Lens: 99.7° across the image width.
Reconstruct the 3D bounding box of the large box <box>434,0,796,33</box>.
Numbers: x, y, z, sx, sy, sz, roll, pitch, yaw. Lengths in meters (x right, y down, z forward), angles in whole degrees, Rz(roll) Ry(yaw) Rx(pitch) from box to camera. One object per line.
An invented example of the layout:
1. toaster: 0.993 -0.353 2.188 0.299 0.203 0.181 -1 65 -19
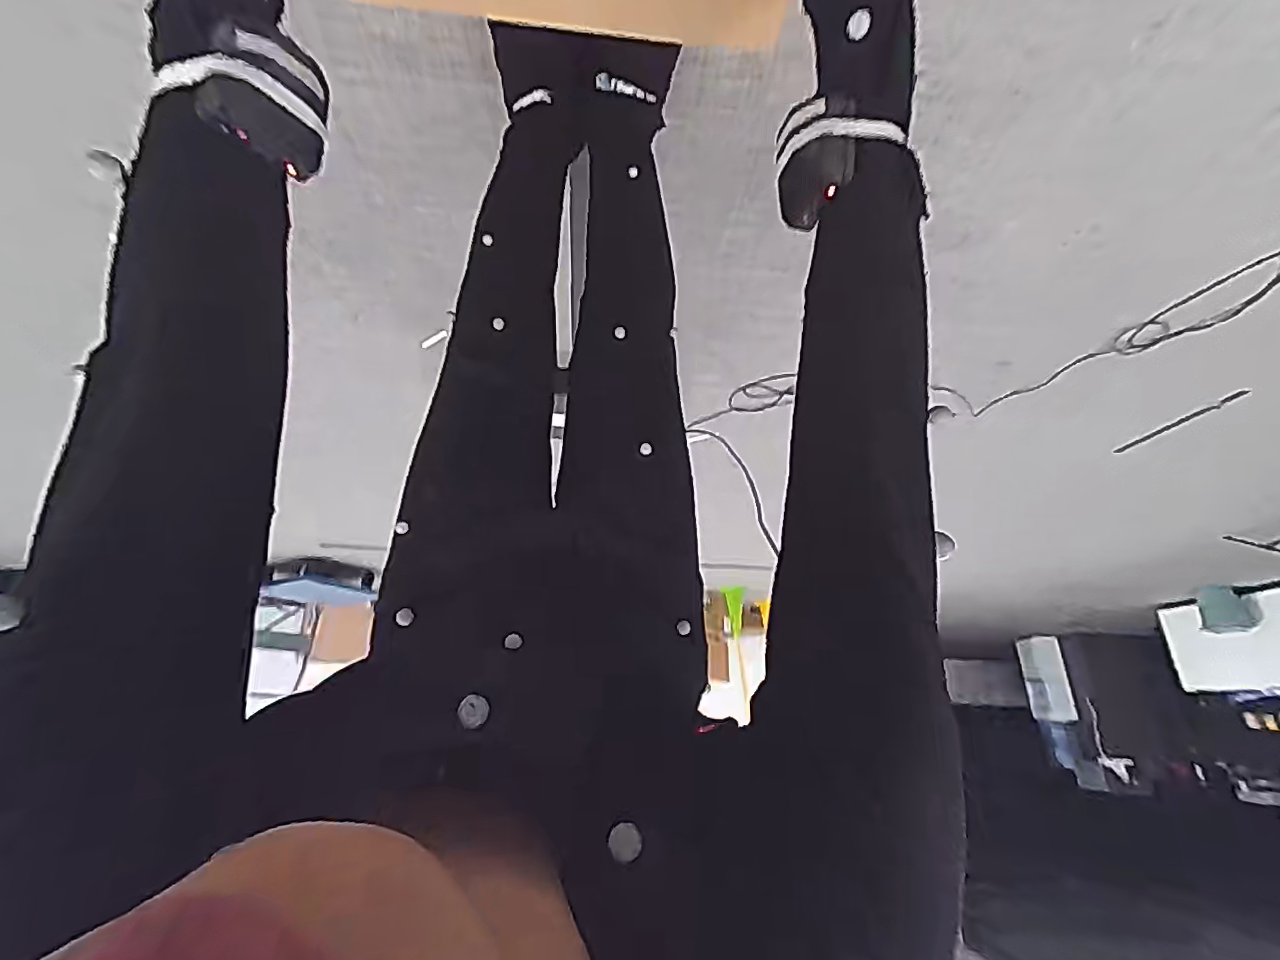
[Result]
1. large box: -0.046 -0.628 0.420 0.408 0.320 0.320 3 157 -4
